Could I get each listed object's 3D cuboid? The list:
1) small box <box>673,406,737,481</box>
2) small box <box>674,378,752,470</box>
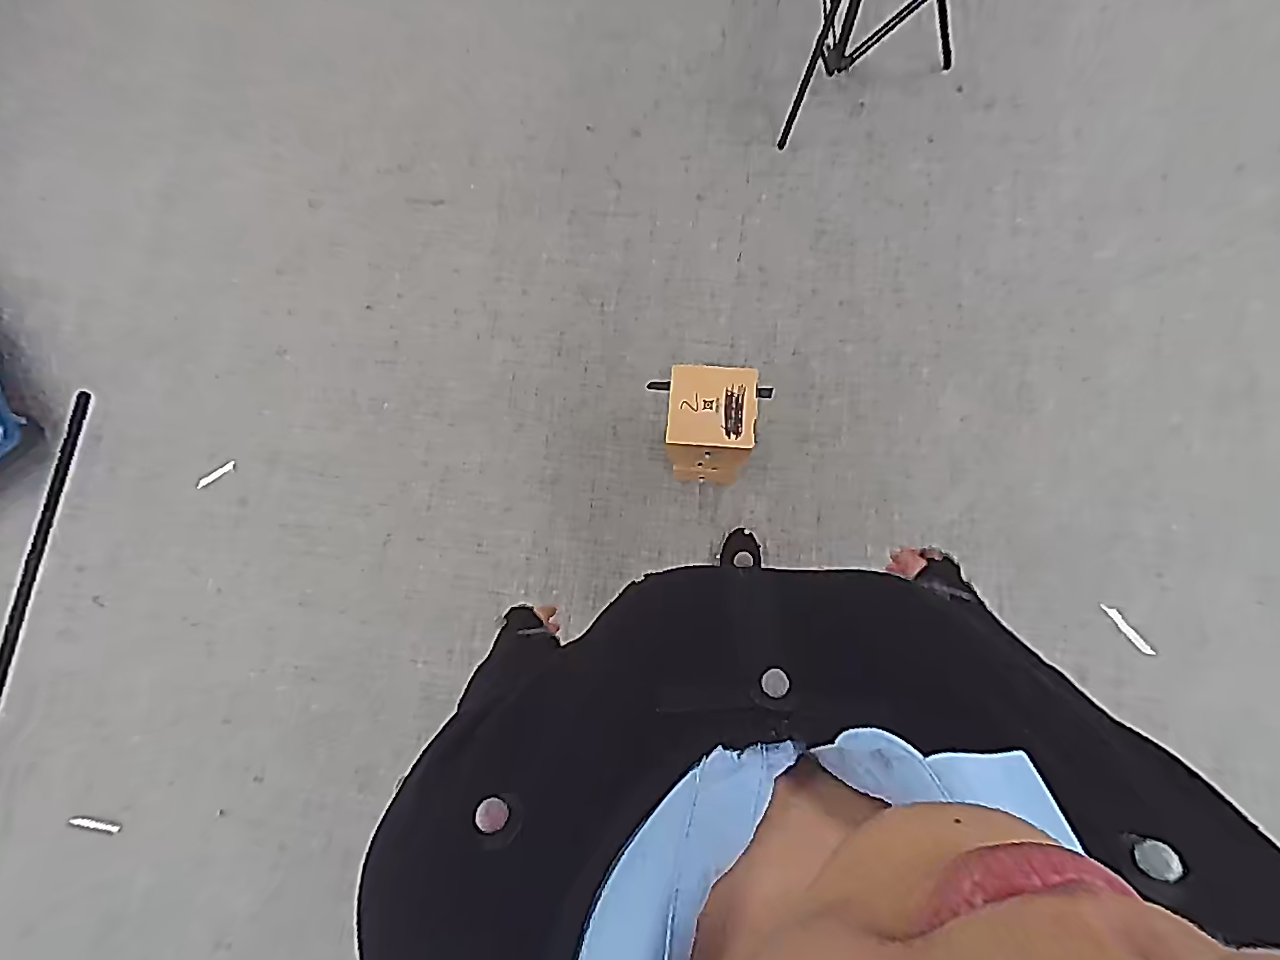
[{"bbox_3d":[0.181,-0.096,1.469,0.168,0.176,0.179,4,81,5],"label":"small box"},{"bbox_3d":[0.172,-0.131,1.311,0.168,0.176,0.179,6,82,6],"label":"small box"}]
